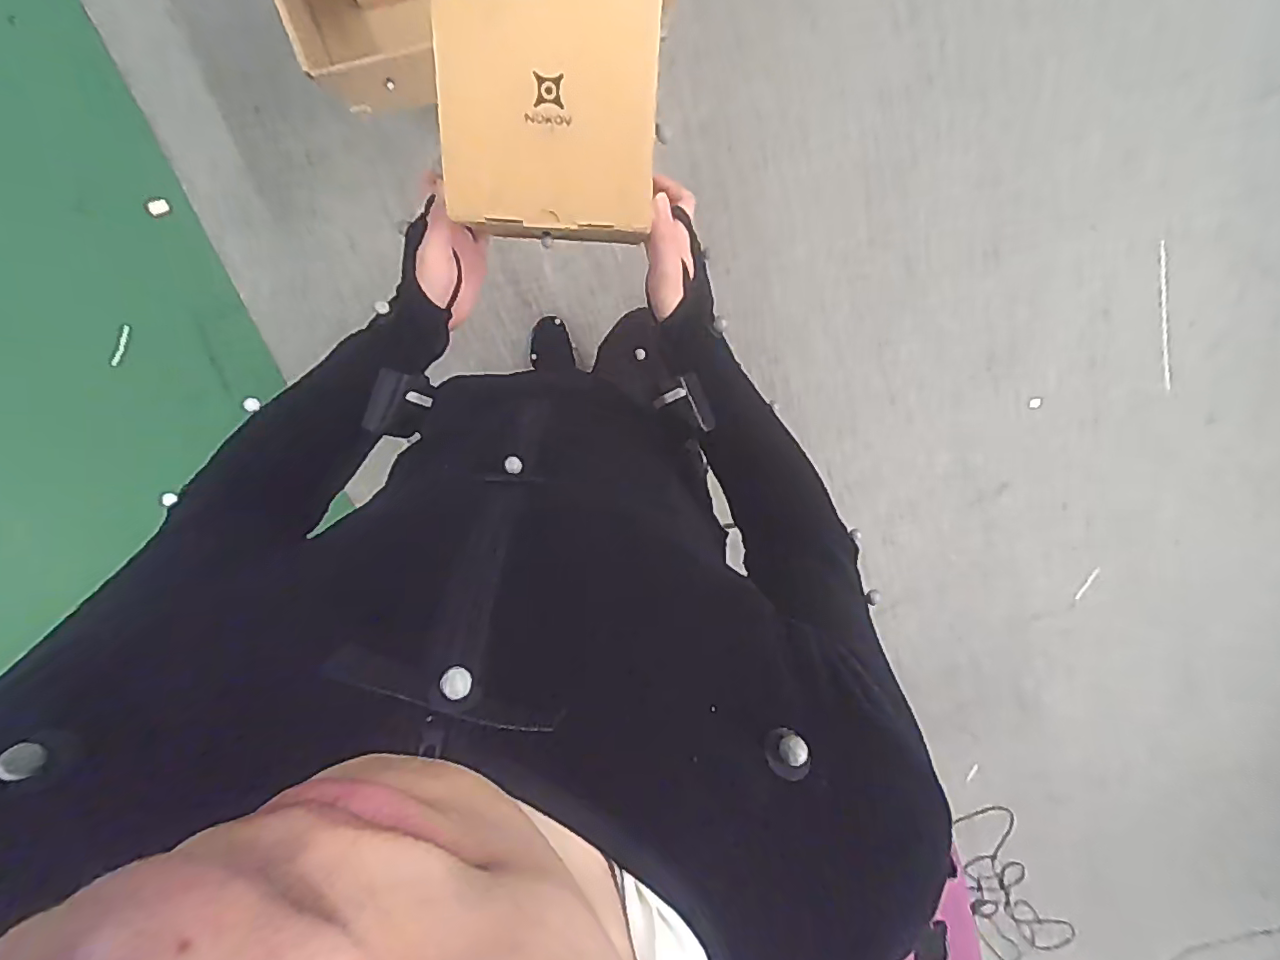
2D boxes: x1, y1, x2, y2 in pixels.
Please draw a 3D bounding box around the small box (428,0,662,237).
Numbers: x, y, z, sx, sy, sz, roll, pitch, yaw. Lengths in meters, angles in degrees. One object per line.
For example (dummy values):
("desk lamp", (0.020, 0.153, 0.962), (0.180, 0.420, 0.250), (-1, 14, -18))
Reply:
("small box", (-0.074, -0.315, 0.470), (0.168, 0.176, 0.179), (1, 112, -4))
